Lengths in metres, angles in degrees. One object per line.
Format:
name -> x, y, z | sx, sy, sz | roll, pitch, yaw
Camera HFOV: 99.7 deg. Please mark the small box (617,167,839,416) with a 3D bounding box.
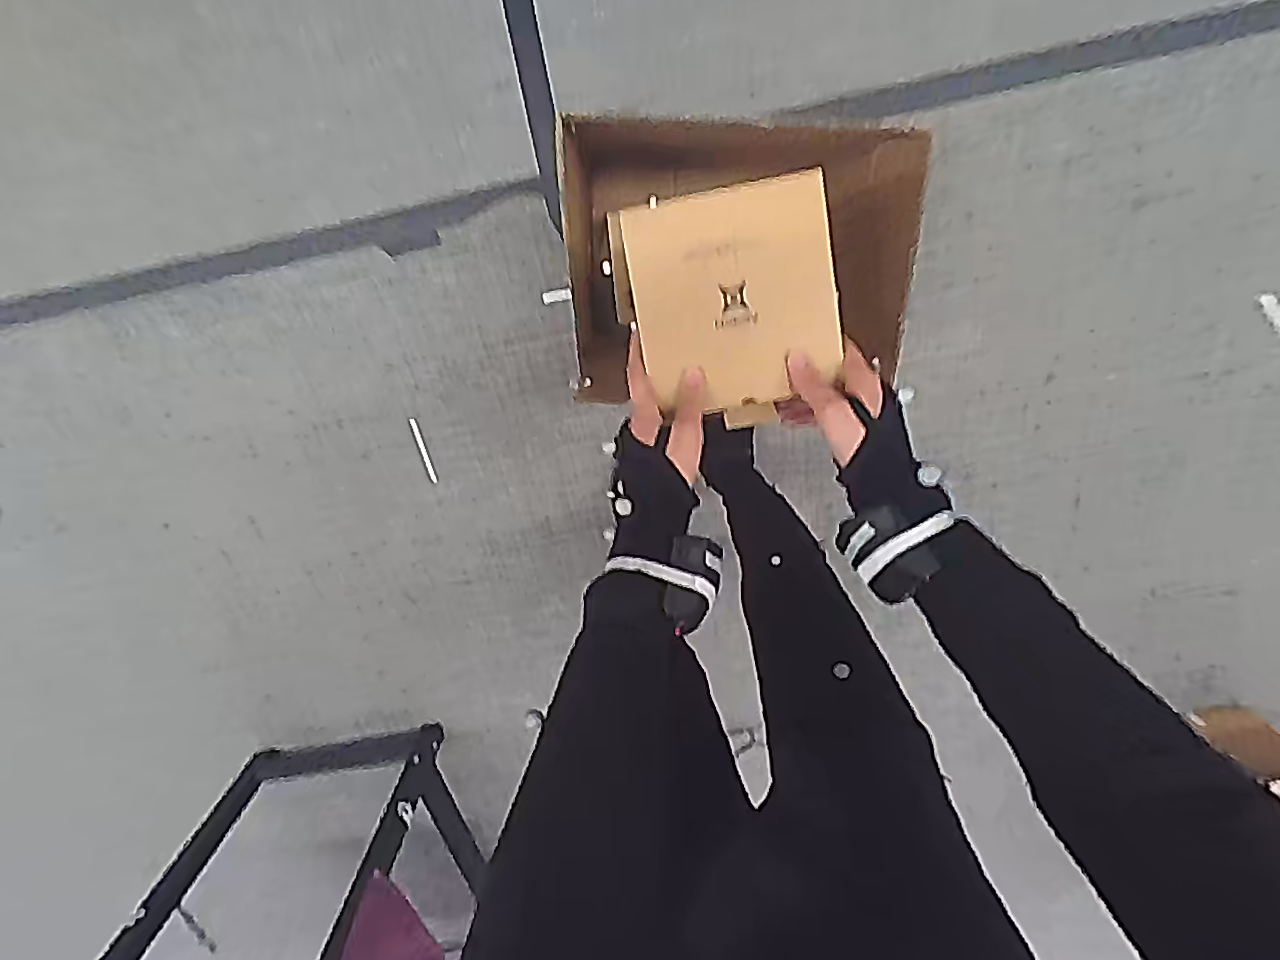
small box -> 0.078, -0.164, 0.524 | 0.168, 0.176, 0.179 | -10, 98, 4
